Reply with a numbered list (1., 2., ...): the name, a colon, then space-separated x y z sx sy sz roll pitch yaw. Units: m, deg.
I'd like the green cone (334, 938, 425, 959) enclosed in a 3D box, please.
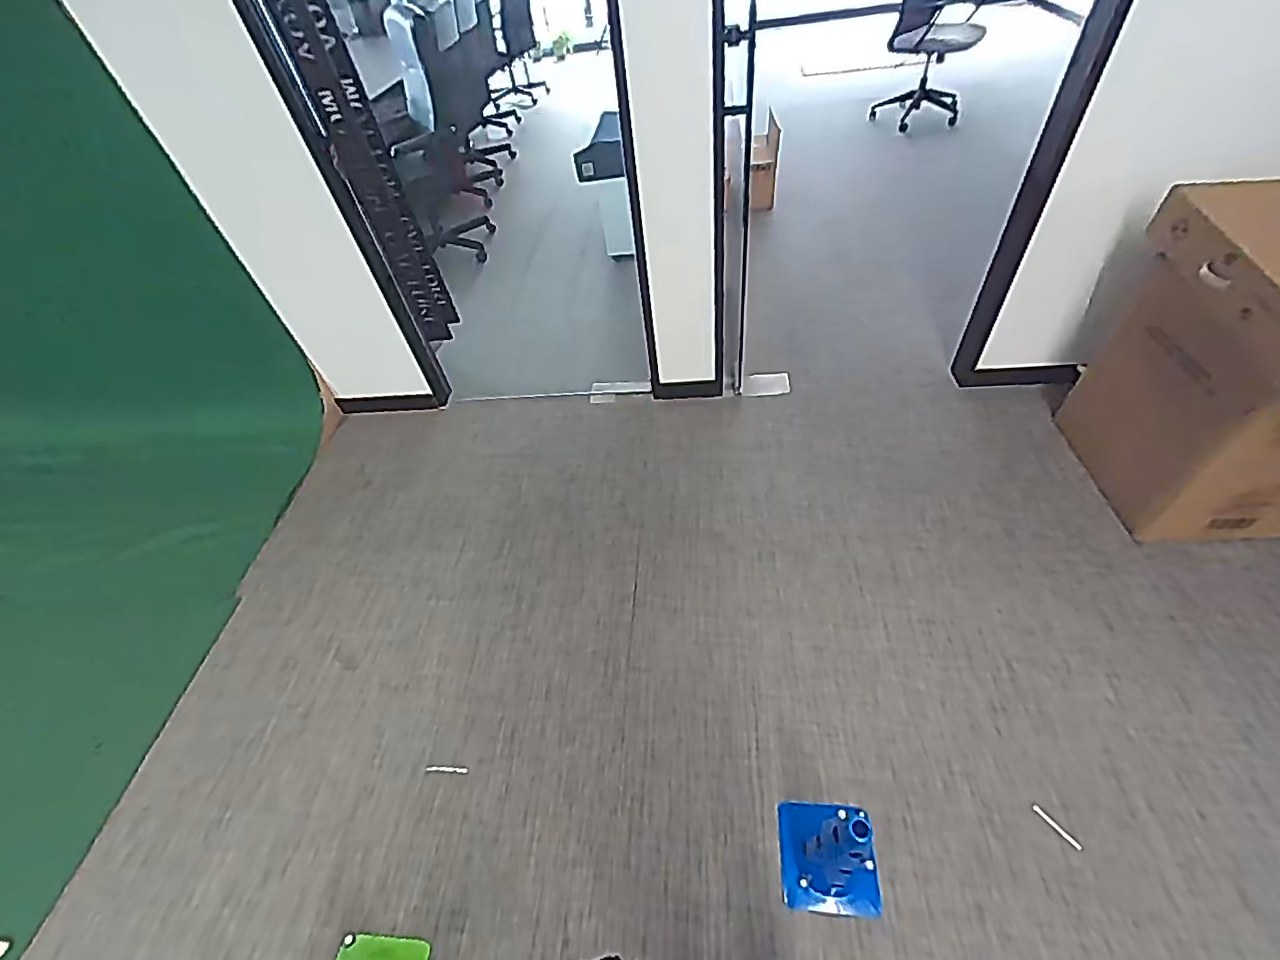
1. green cone: -0.570 0.948 0.965 0.202 0.368 0.200 -1 48 6
